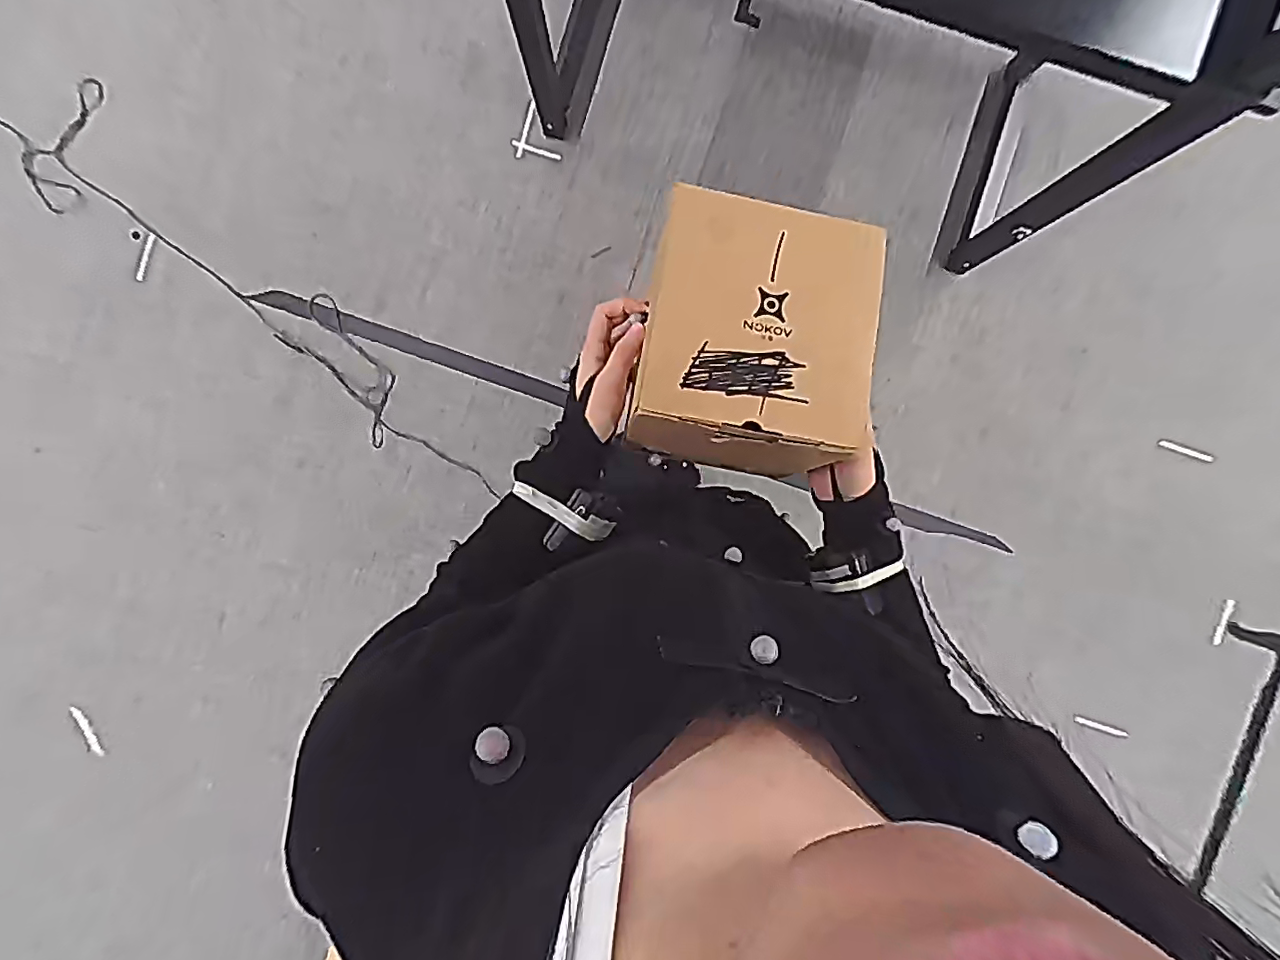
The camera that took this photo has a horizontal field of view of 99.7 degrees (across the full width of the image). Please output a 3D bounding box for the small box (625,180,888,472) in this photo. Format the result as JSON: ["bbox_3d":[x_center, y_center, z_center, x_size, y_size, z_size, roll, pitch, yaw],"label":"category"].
[{"bbox_3d":[0.083,-0.110,0.467,0.168,0.176,0.179,11,82,-5],"label":"small box"}]
